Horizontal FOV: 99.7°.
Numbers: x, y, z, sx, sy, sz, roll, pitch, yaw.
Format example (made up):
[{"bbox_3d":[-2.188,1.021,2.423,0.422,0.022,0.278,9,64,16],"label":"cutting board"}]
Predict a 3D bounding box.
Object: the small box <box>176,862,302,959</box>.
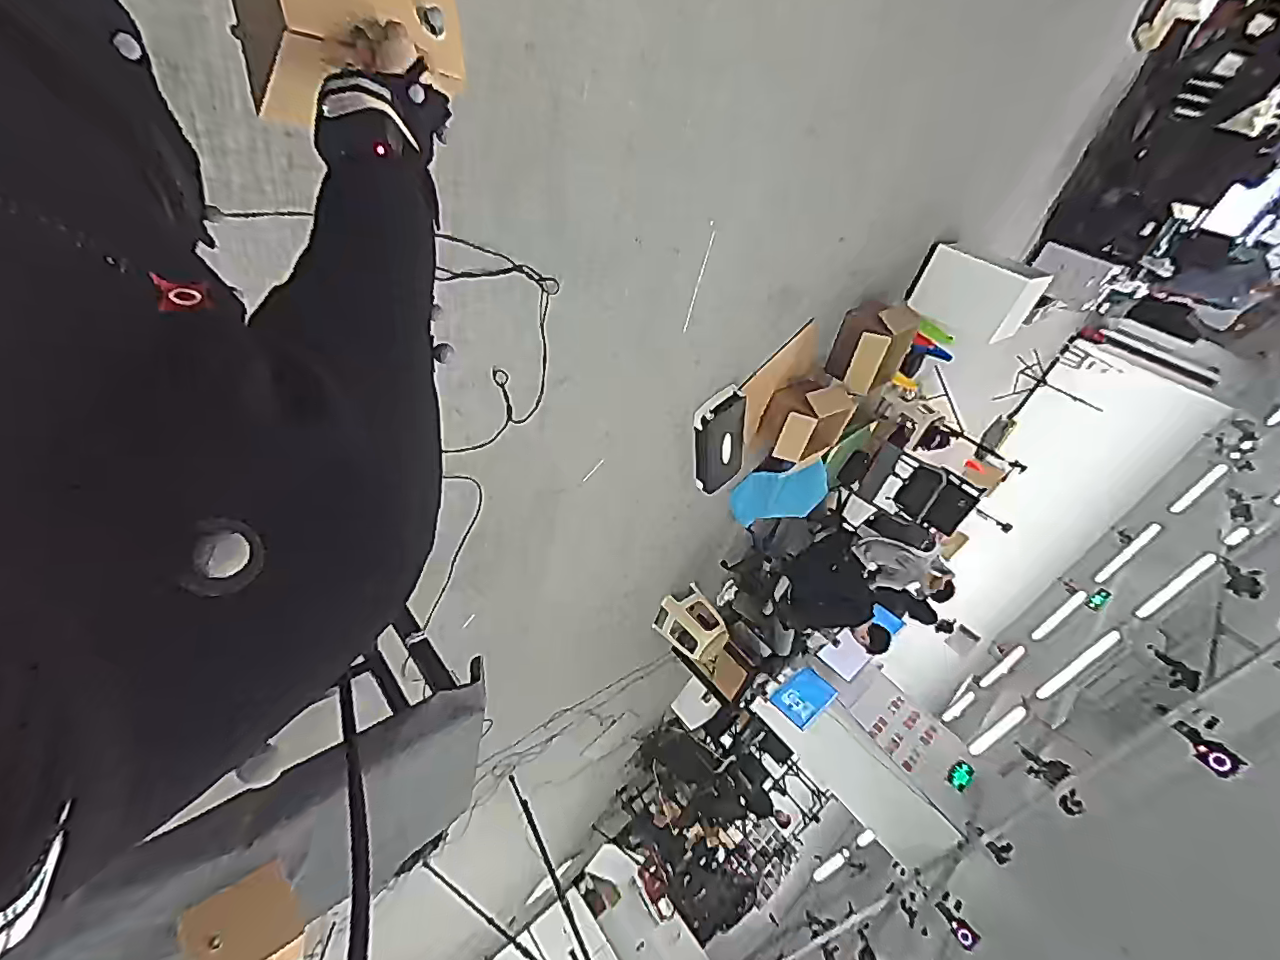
[{"bbox_3d":[-0.815,0.937,1.098,0.179,0.176,0.168,-13,137,-46],"label":"small box"}]
